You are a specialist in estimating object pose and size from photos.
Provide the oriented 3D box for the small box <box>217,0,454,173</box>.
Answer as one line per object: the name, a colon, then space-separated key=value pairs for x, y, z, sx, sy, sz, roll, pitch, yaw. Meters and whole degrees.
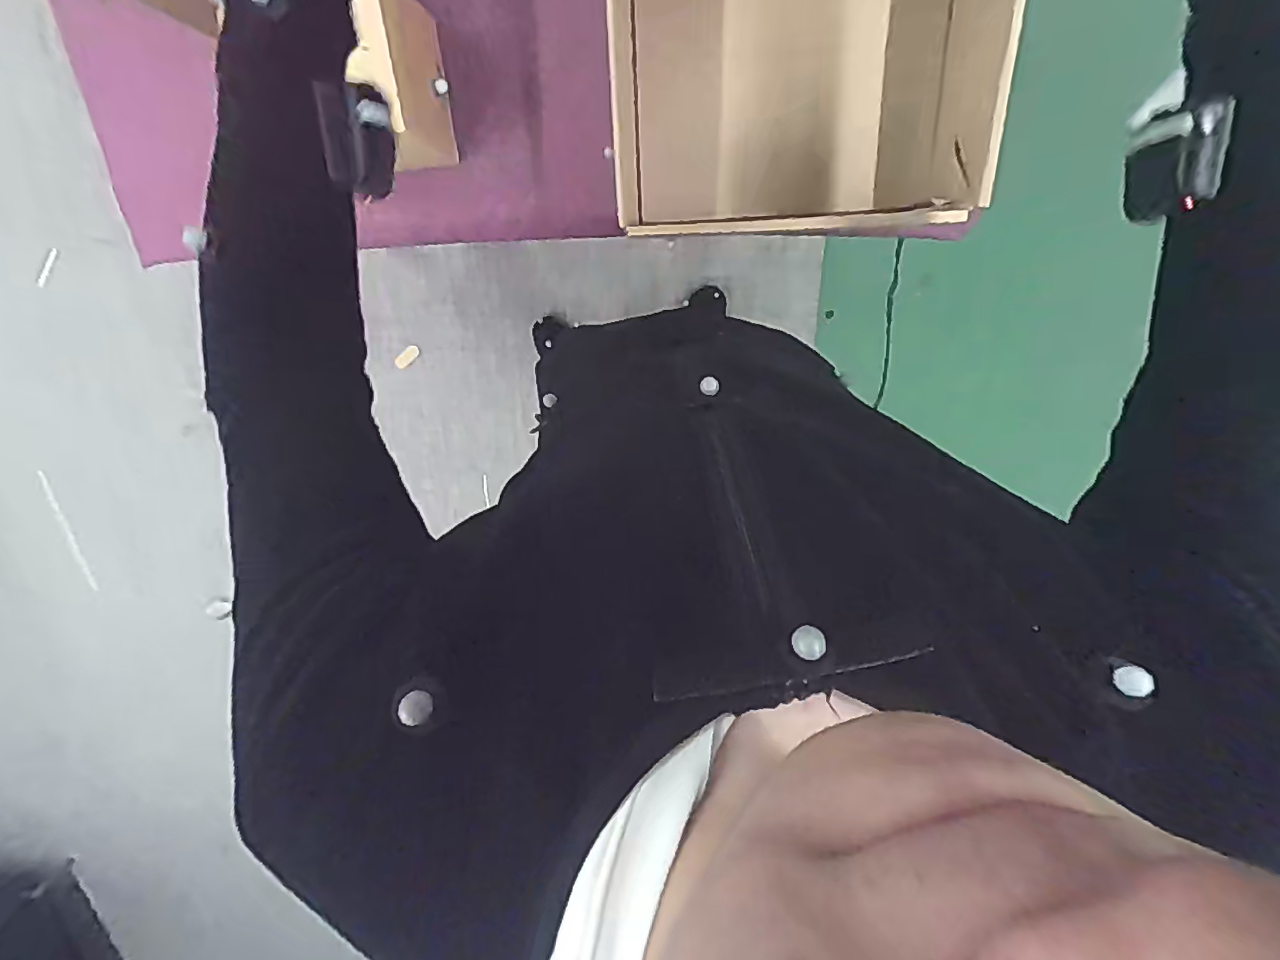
small box: x=-0.351 y=-0.484 z=0.654 sx=0.179 sy=0.176 sz=0.168 roll=-3 pitch=110 yaw=4

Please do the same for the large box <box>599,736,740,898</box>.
large box: x=0.107 y=1.241 z=2.007 sx=0.408 sy=0.320 sz=0.320 roll=-31 pitch=107 yaw=13
